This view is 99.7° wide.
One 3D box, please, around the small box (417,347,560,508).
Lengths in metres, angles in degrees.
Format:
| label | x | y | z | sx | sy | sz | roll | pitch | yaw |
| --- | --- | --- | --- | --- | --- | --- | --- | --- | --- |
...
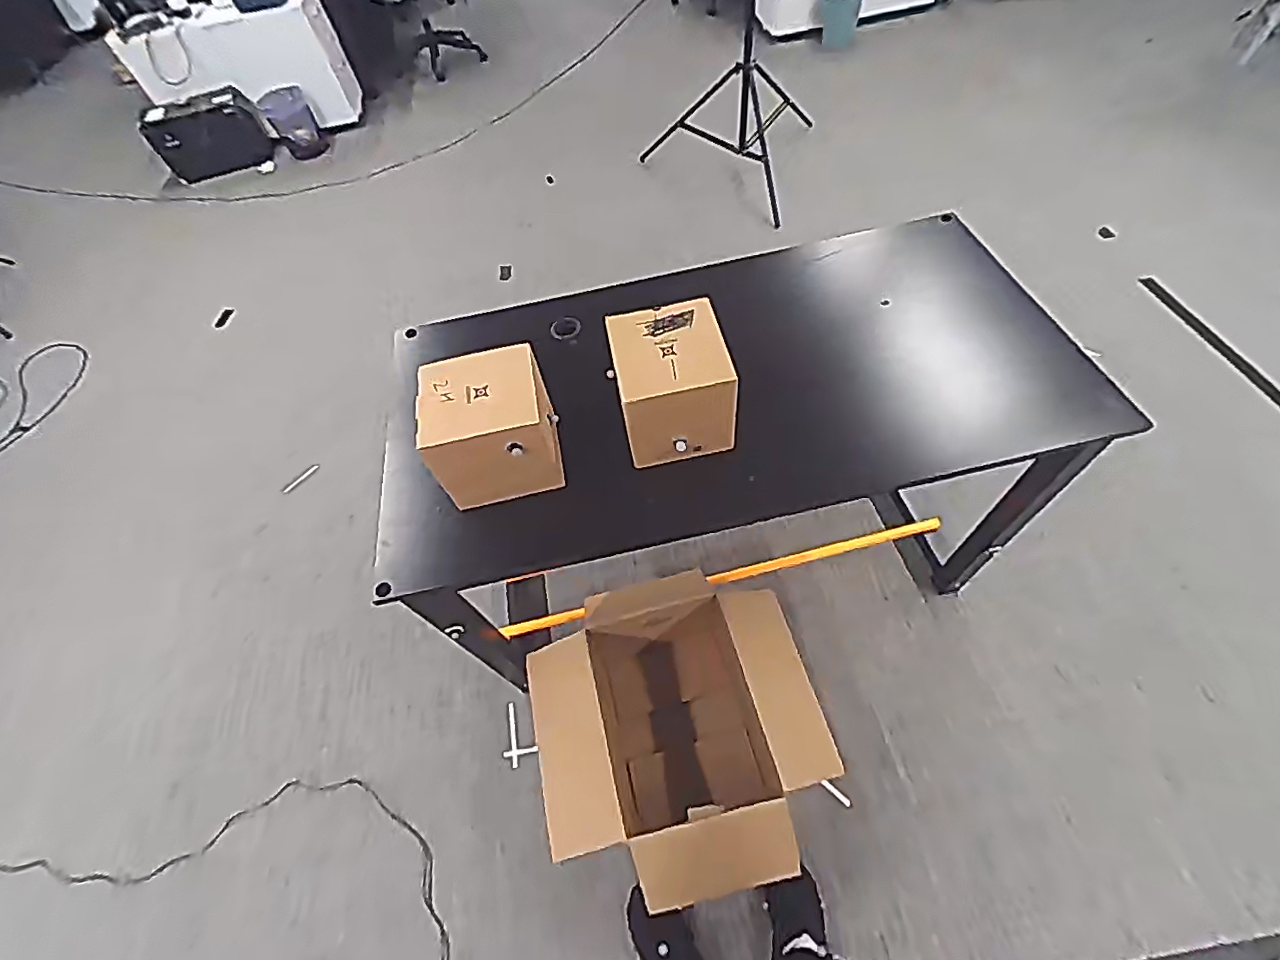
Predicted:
| label | x | y | z | sx | sy | sz | roll | pitch | yaw |
| --- | --- | --- | --- | --- | --- | --- | --- | --- | --- |
| small box | -0.230 | -0.078 | 0.854 | 0.179 | 0.176 | 0.168 | -13 | 56 | -2 |

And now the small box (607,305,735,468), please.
| label | x | y | z | sx | sy | sz | roll | pitch | yaw |
| --- | --- | --- | --- | --- | --- | --- | --- | --- | --- |
| small box | 0.047 | -0.145 | 0.865 | 0.168 | 0.176 | 0.179 | -12 | 57 | 0 |
